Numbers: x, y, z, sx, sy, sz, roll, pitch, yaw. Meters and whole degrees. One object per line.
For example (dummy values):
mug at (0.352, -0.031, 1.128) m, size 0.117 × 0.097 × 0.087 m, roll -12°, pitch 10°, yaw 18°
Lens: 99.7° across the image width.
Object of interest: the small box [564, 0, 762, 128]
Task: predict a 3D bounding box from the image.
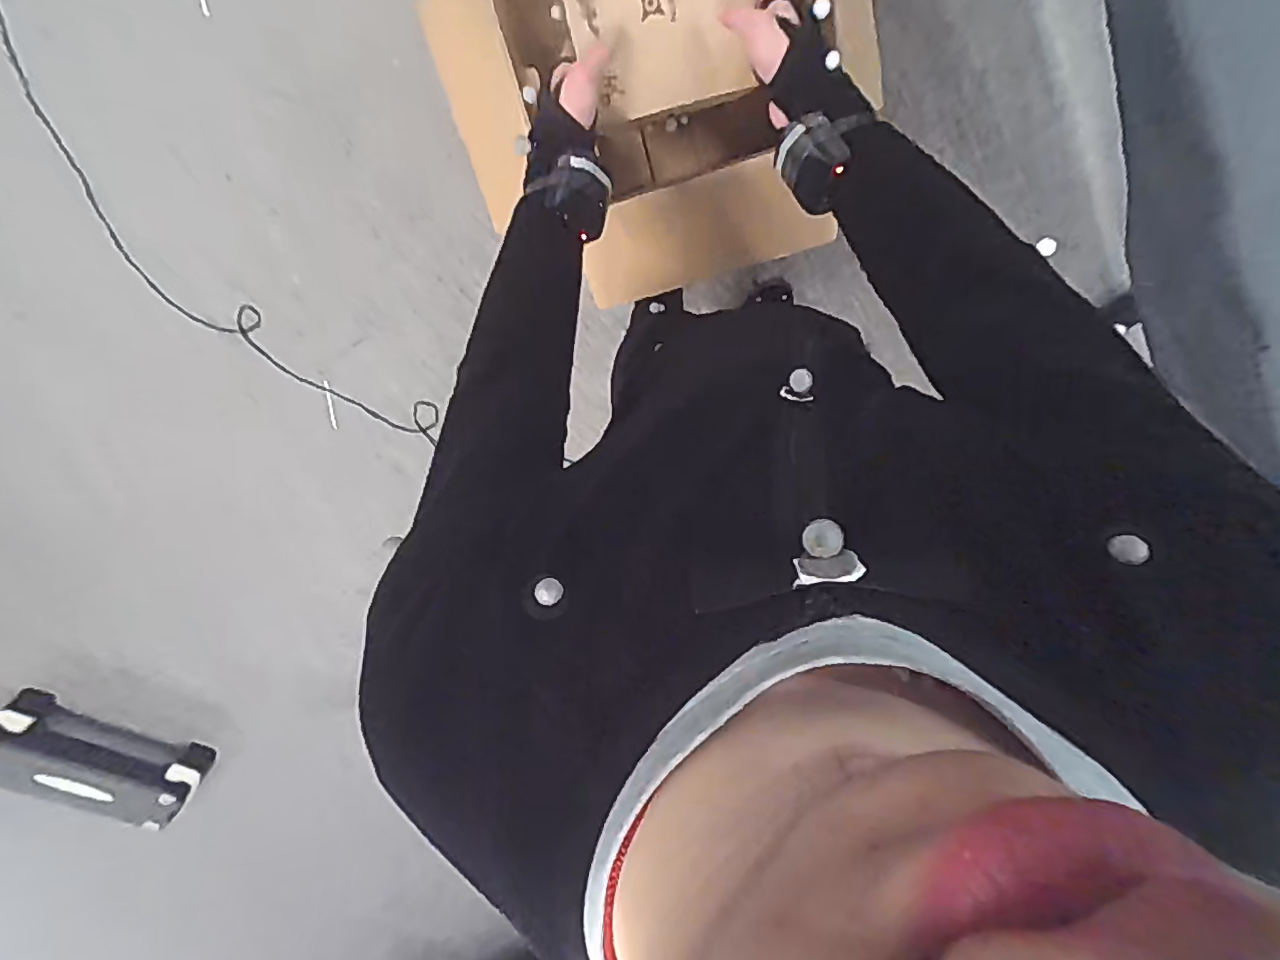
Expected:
small box at (0.015, -0.479, 0.557) m, size 0.179 × 0.176 × 0.168 m, roll -11°, pitch 120°, yaw 5°
